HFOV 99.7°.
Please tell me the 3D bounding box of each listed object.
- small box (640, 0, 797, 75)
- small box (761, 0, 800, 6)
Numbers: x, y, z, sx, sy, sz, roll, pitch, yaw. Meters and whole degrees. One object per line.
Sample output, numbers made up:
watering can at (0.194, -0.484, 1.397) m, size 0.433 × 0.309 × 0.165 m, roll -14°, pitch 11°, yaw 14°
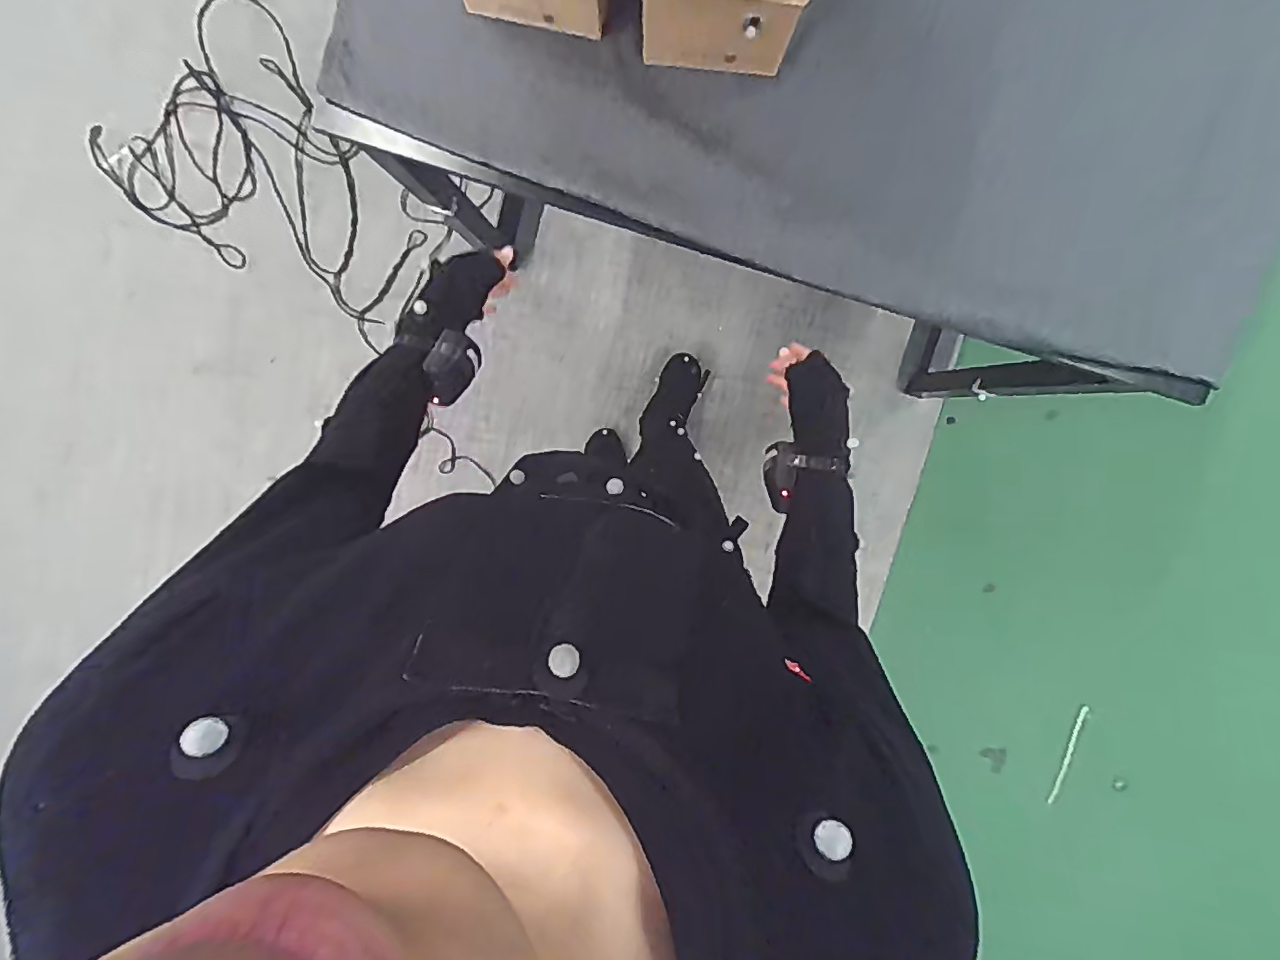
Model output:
small box at (0.089, -0.573, 0.573) m, size 0.168 × 0.176 × 0.179 m, roll 5°, pitch 97°, yaw -2°
small box at (0.086, -0.524, 0.417) m, size 0.168 × 0.176 × 0.179 m, roll 8°, pitch 97°, yaw -2°
